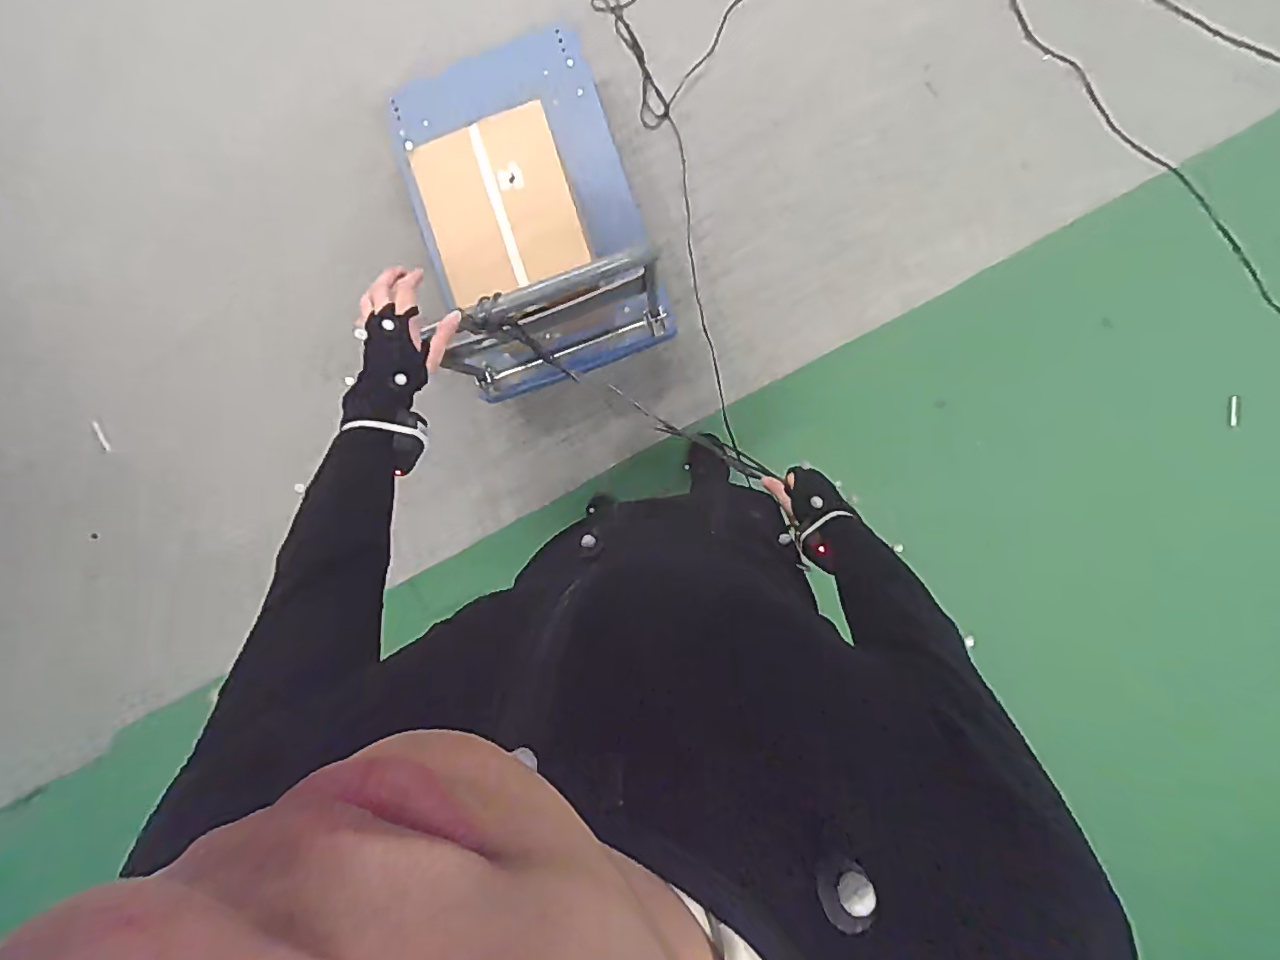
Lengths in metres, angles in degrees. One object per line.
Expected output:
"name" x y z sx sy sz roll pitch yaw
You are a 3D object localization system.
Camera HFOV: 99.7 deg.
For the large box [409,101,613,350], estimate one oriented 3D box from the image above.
"large box" -0.286 -0.580 1.313 0.320 0.320 0.408 -17 91 4
